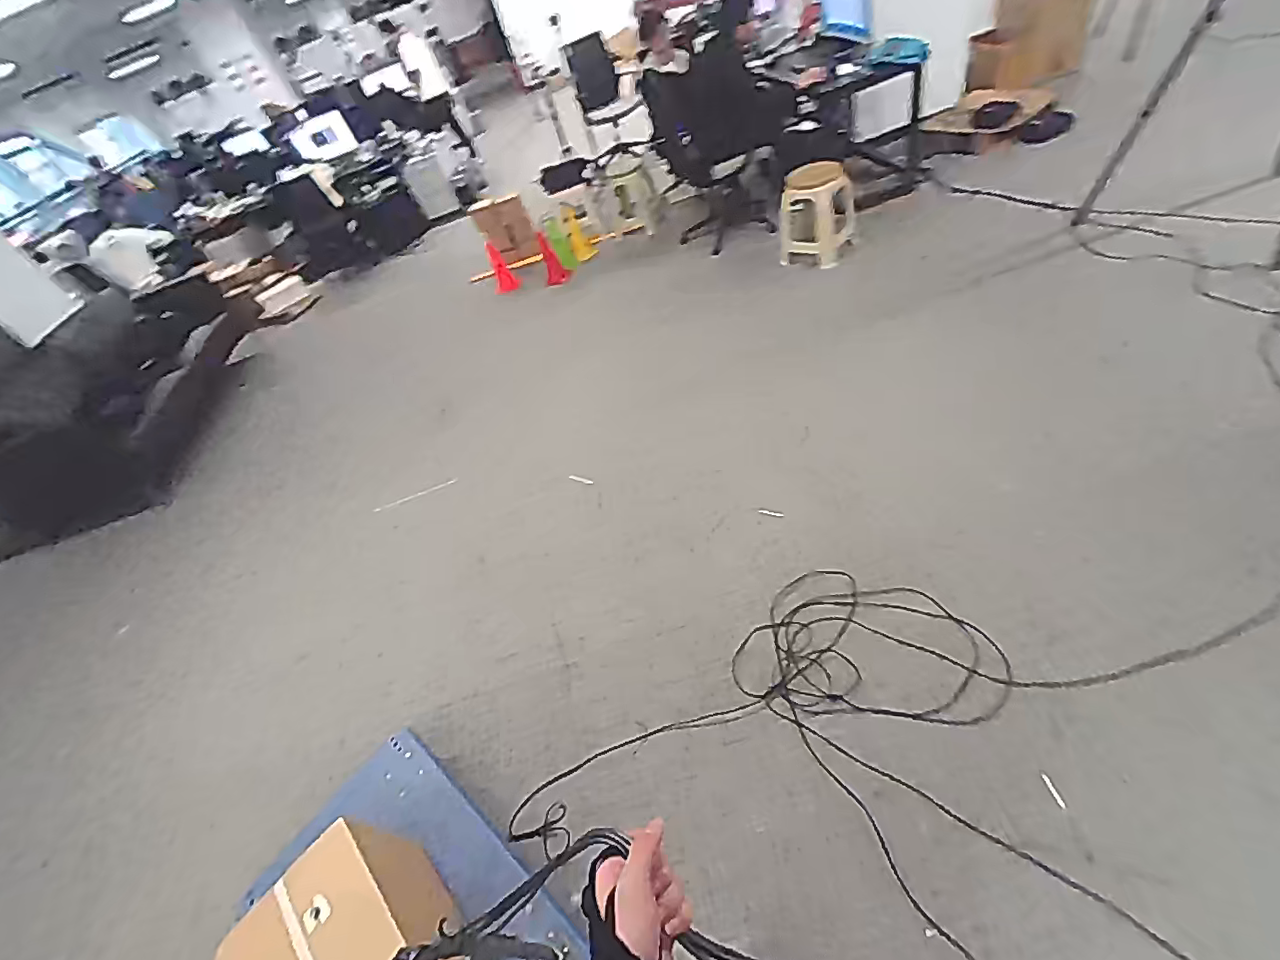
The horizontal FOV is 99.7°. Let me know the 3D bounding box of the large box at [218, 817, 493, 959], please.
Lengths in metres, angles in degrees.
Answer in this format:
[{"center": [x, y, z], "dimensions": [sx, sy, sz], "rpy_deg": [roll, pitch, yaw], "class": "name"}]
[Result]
[{"center": [-0.571, 1.011, 1.125], "dimensions": [0.408, 0.320, 0.320], "rpy_deg": [26, 62, 39], "class": "large box"}]
